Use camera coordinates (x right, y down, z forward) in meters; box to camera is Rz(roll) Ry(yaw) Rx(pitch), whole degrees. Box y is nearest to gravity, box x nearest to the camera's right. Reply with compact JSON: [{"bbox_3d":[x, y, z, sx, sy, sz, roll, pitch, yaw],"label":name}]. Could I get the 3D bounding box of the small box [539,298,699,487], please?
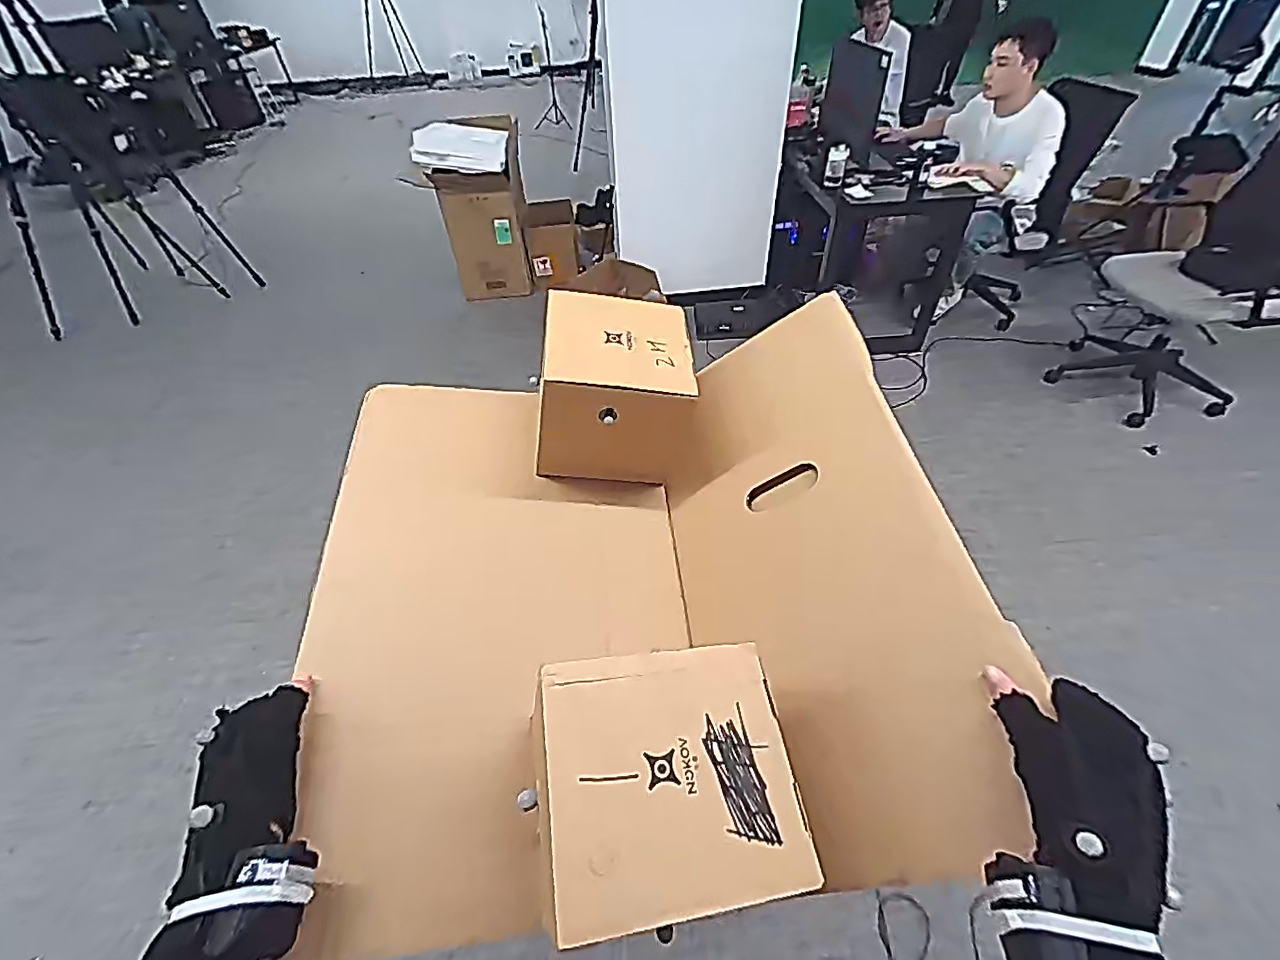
[{"bbox_3d":[-0.036,-0.106,0.701,0.179,0.176,0.168,5,53,-11],"label":"small box"}]
